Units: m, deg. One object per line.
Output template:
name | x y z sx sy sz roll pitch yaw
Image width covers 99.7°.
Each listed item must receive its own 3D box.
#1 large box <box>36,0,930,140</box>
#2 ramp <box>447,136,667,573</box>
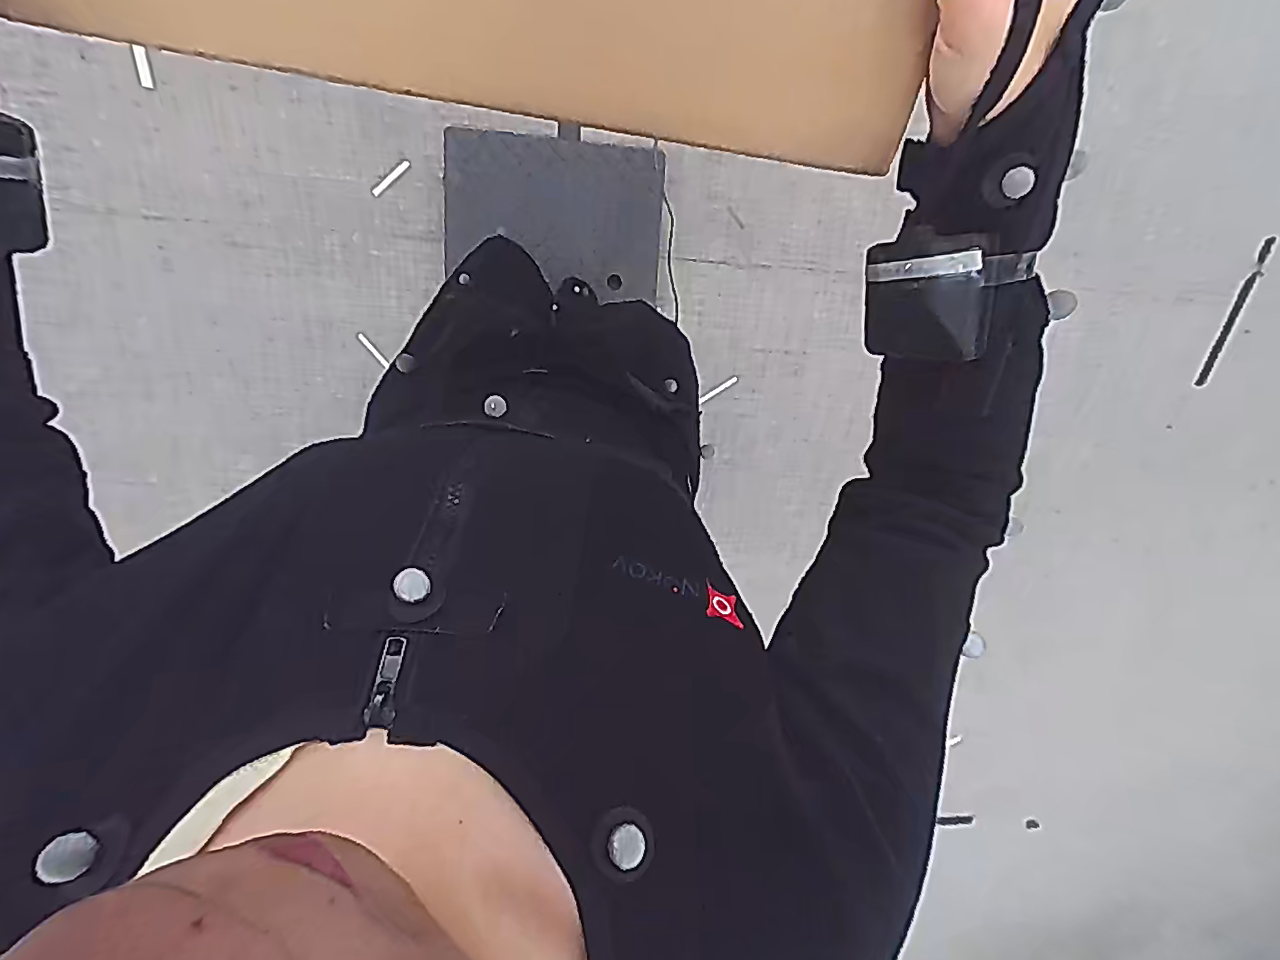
large box | -0.060 -0.400 0.279 0.408 0.320 0.320 5 128 -9
ramp | -0.213 -0.258 1.302 0.509 0.206 0.991 2 110 -5
